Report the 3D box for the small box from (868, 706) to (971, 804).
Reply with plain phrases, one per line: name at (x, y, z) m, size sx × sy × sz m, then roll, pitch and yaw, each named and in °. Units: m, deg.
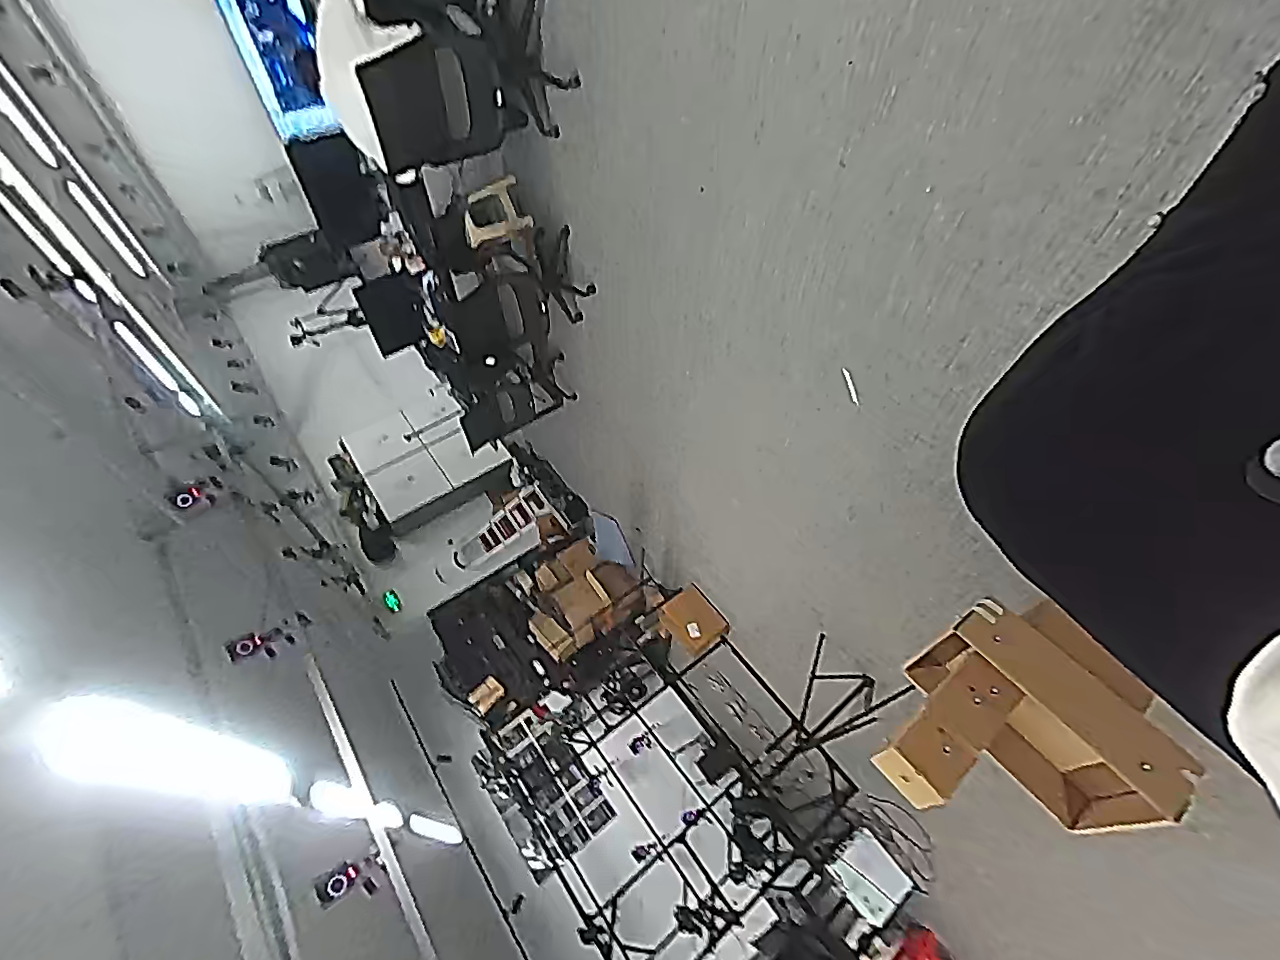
small box at (0.787, 0.776, 1.526) m, size 0.168 × 0.176 × 0.179 m, roll 45°, pitch 154°, yaw 28°
